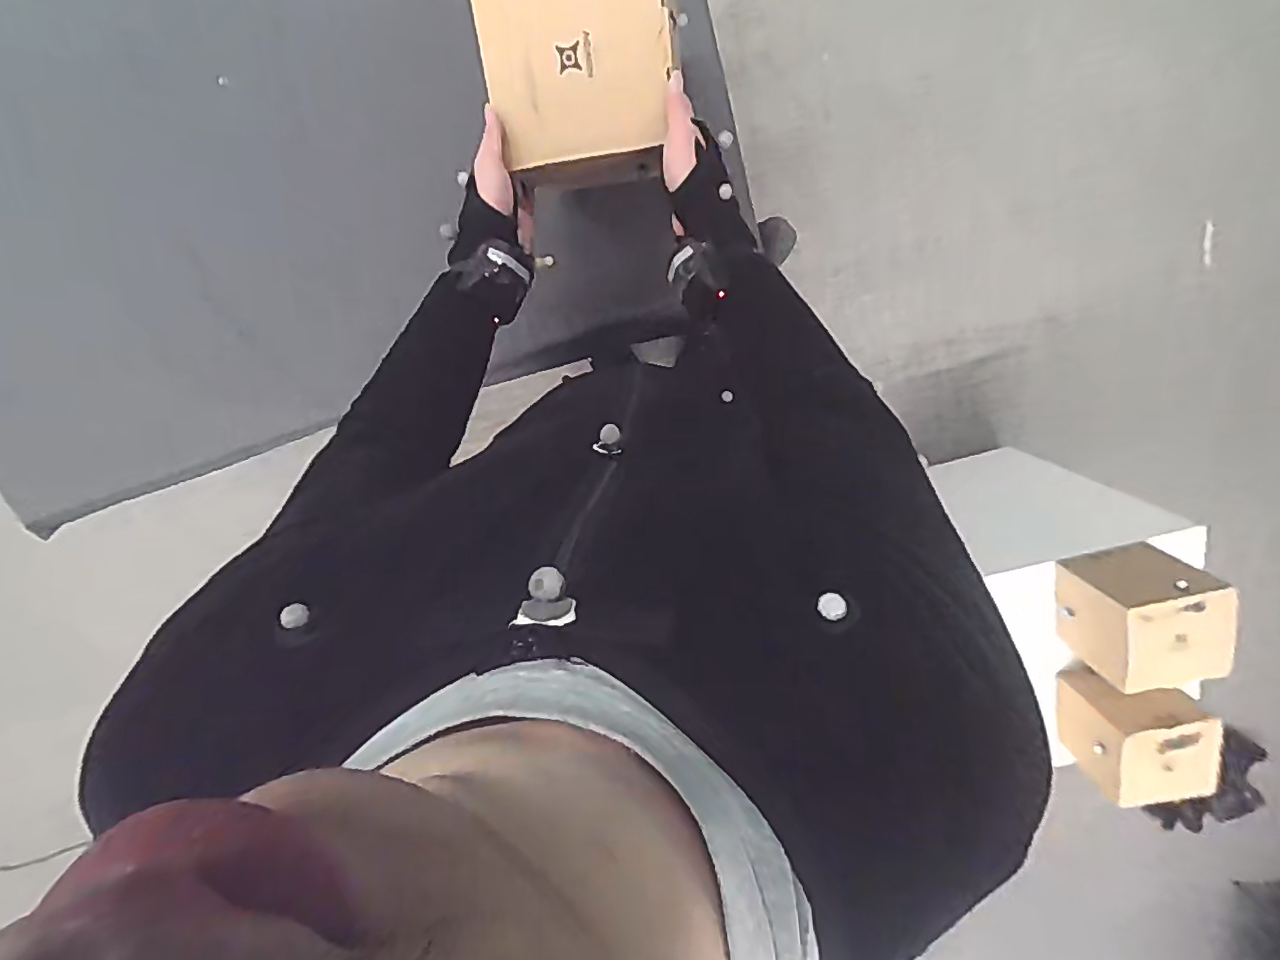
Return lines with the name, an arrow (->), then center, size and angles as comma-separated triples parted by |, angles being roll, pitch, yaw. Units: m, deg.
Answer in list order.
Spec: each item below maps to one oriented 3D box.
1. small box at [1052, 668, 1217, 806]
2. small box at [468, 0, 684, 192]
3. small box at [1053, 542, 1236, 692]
small box -> 0.927, 0.473, 1.031 | 0.168, 0.176, 0.179 | -13, 109, 5
small box -> -0.049, -0.409, 0.560 | 0.179, 0.176, 0.168 | -3, 110, 12
small box -> 0.865, 0.234, 0.949 | 0.168, 0.176, 0.179 | -14, 110, 5
